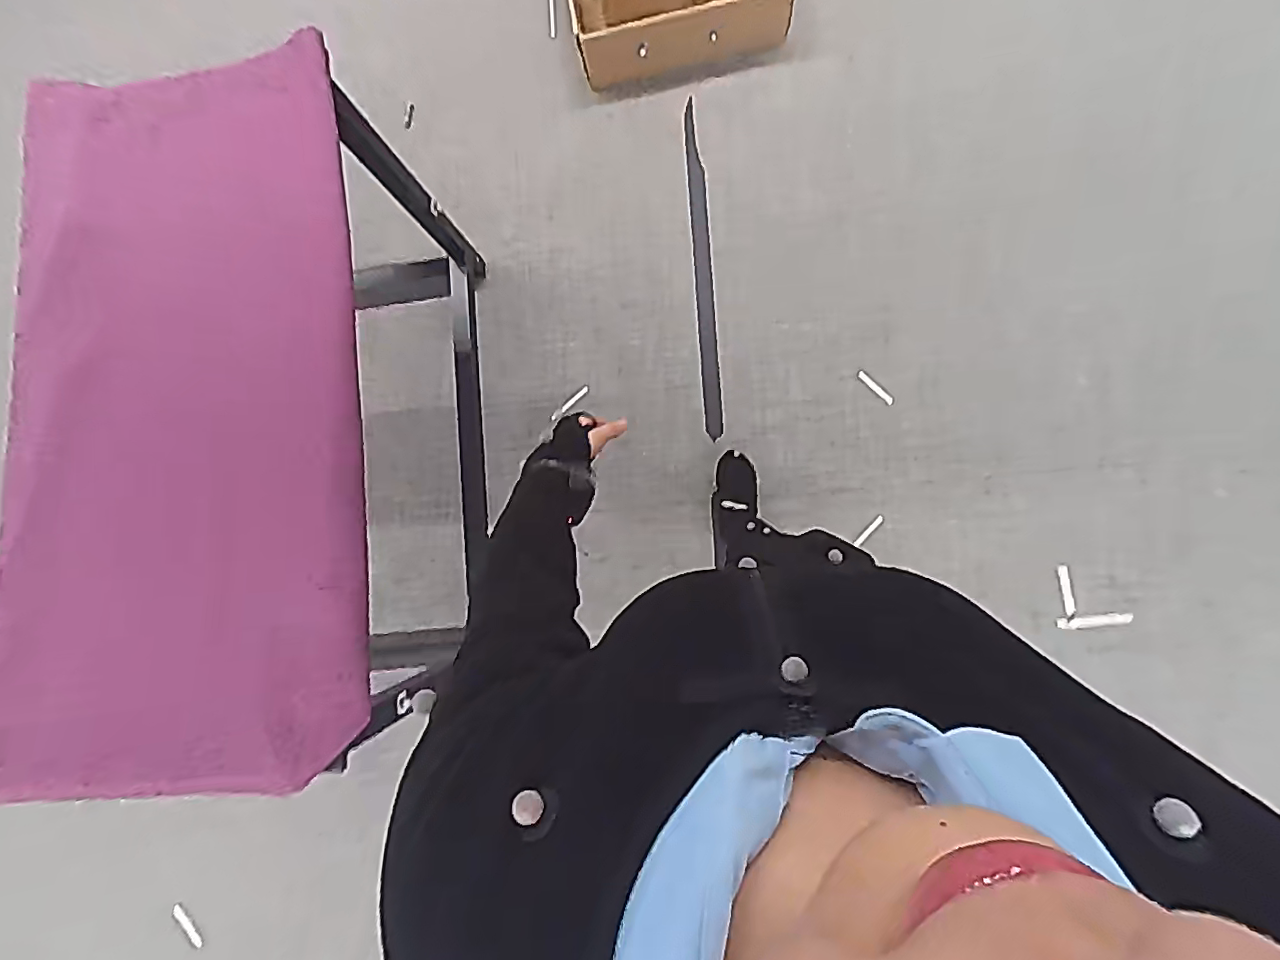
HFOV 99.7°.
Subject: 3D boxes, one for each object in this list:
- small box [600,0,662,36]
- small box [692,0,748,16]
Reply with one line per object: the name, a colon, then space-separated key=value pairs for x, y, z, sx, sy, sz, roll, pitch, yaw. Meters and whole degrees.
small box: x=-0.033 y=-1.443 z=1.560 sx=0.179 sy=0.176 sz=0.168 roll=-11 pitch=82 yaw=4
small box: x=0.221 y=-1.487 z=1.537 sx=0.168 sy=0.176 sz=0.179 roll=-10 pitch=83 yaw=7
